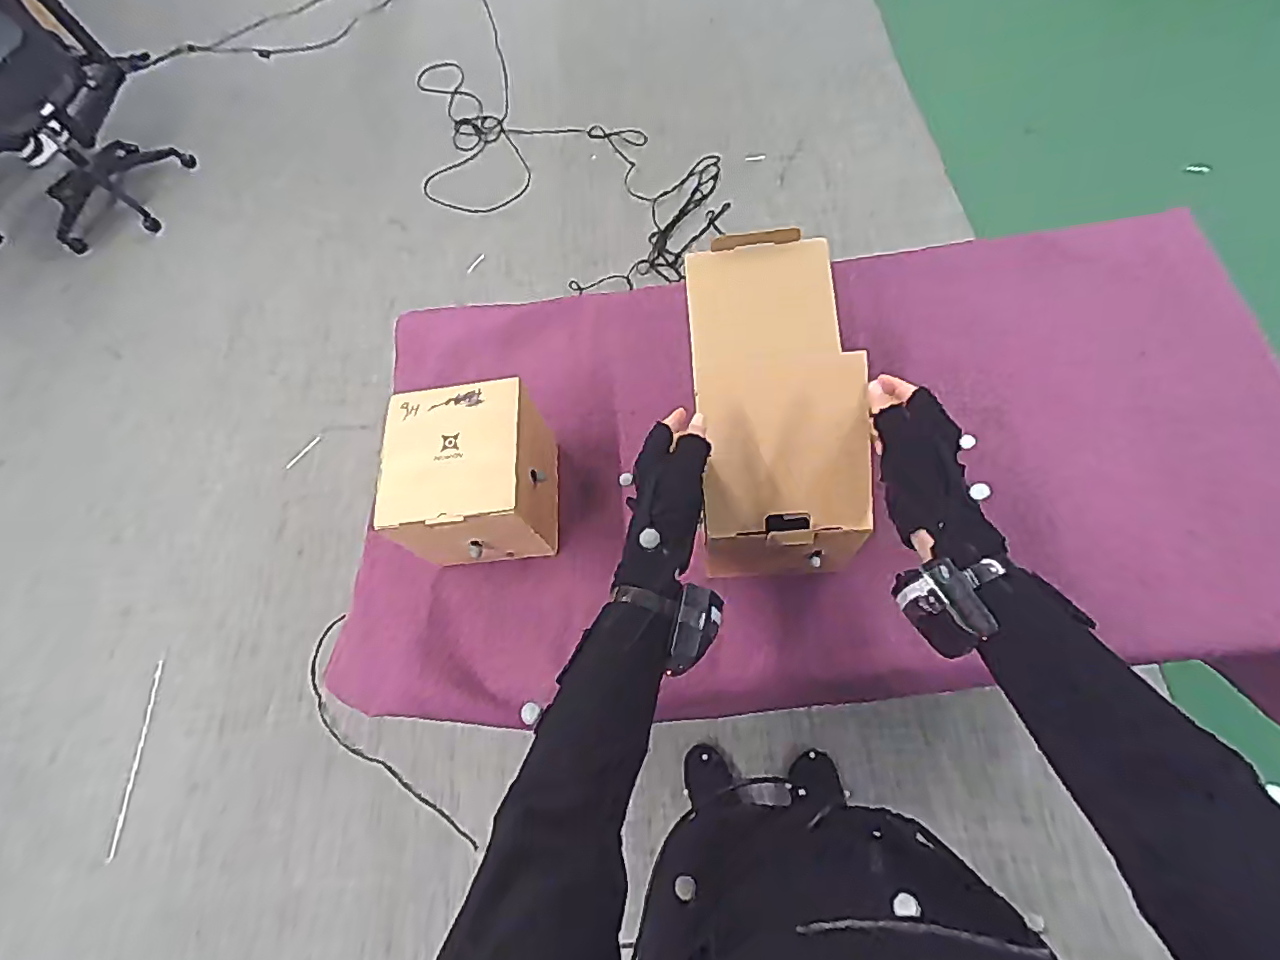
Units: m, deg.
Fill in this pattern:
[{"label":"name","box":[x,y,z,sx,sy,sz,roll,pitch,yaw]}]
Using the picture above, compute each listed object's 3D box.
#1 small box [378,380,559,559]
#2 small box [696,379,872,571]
[{"label":"small box","box":[-0.204,-0.002,0.695,0.168,0.176,0.179,-7,66,6]},{"label":"small box","box":[0.156,0.006,0.635,0.168,0.176,0.179,-4,66,7]}]
